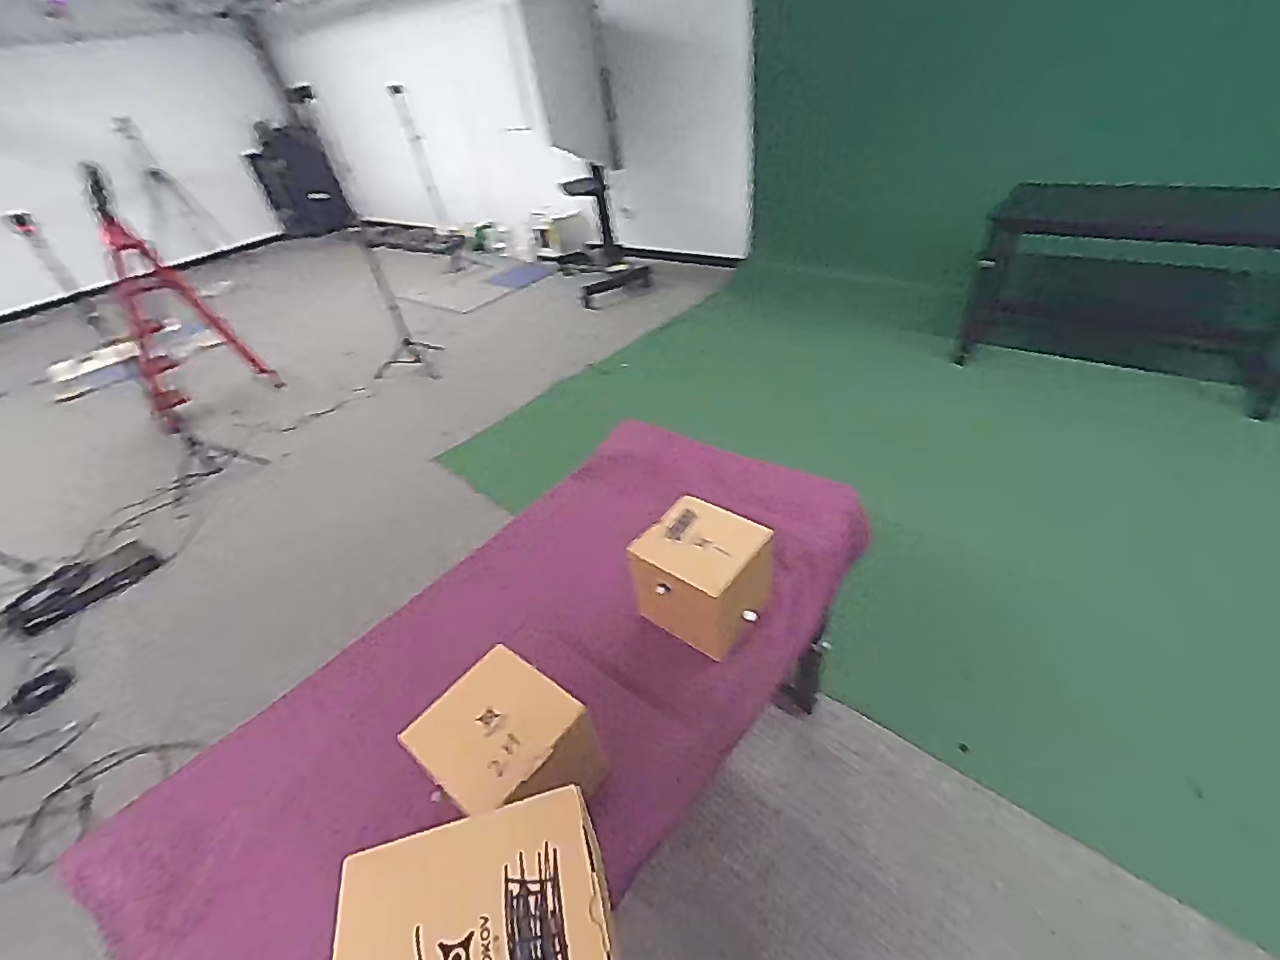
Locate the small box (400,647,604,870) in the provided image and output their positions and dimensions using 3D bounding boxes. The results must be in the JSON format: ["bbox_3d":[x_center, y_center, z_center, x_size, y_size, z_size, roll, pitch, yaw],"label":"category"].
[{"bbox_3d":[-0.172,0.365,0.713,0.179,0.176,0.168,20,47,34],"label":"small box"}]

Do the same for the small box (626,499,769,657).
[{"bbox_3d":[0.100,0.165,0.917,0.179,0.176,0.168,23,48,34],"label":"small box"}]
